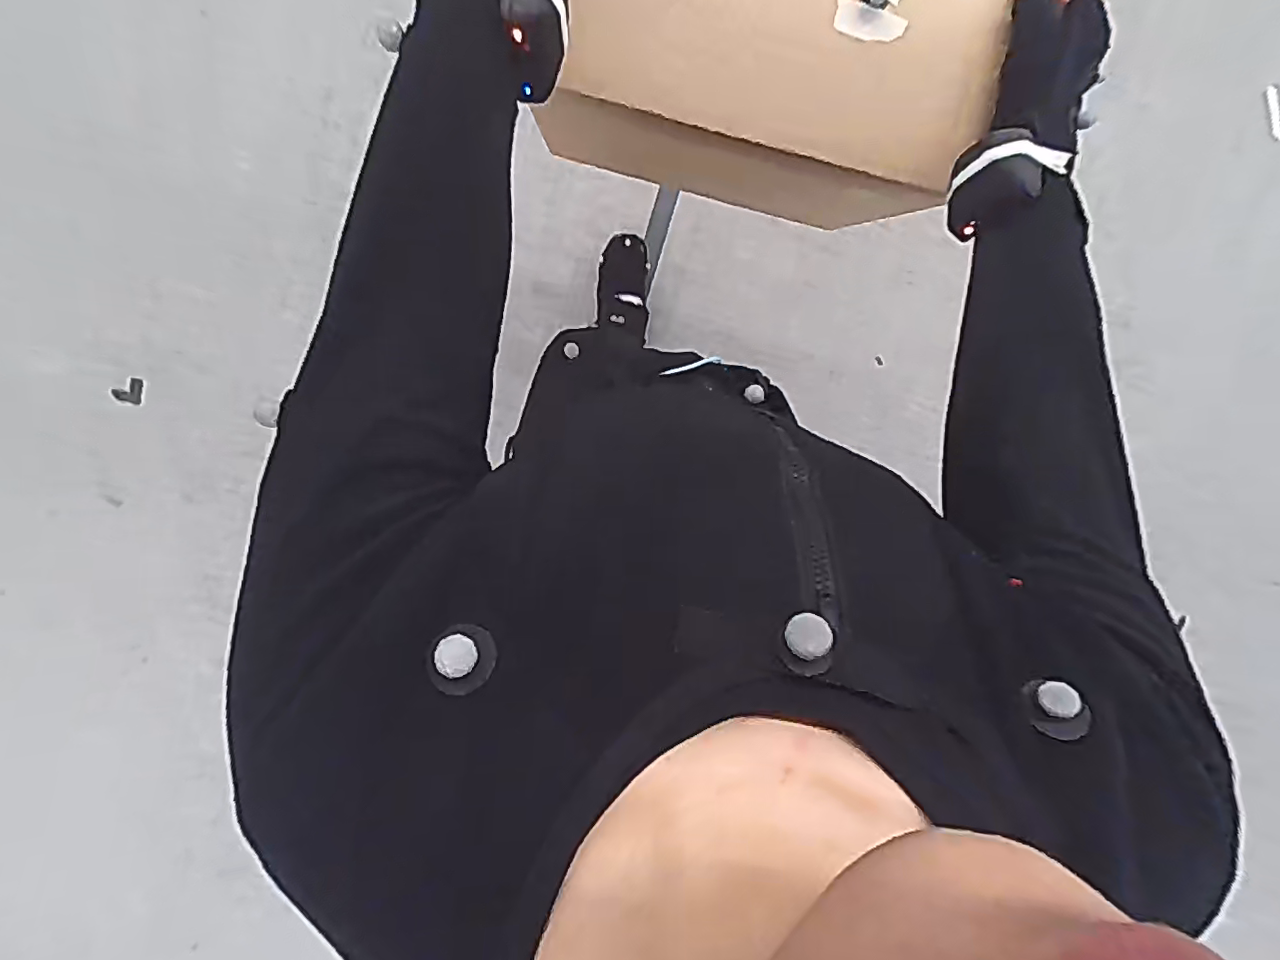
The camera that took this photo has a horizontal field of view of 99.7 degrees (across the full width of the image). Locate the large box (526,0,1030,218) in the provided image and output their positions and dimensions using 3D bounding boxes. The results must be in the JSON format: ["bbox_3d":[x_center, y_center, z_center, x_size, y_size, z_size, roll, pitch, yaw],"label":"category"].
[{"bbox_3d":[0.120,-0.494,0.554,0.408,0.320,0.320,11,111,-8],"label":"large box"}]
